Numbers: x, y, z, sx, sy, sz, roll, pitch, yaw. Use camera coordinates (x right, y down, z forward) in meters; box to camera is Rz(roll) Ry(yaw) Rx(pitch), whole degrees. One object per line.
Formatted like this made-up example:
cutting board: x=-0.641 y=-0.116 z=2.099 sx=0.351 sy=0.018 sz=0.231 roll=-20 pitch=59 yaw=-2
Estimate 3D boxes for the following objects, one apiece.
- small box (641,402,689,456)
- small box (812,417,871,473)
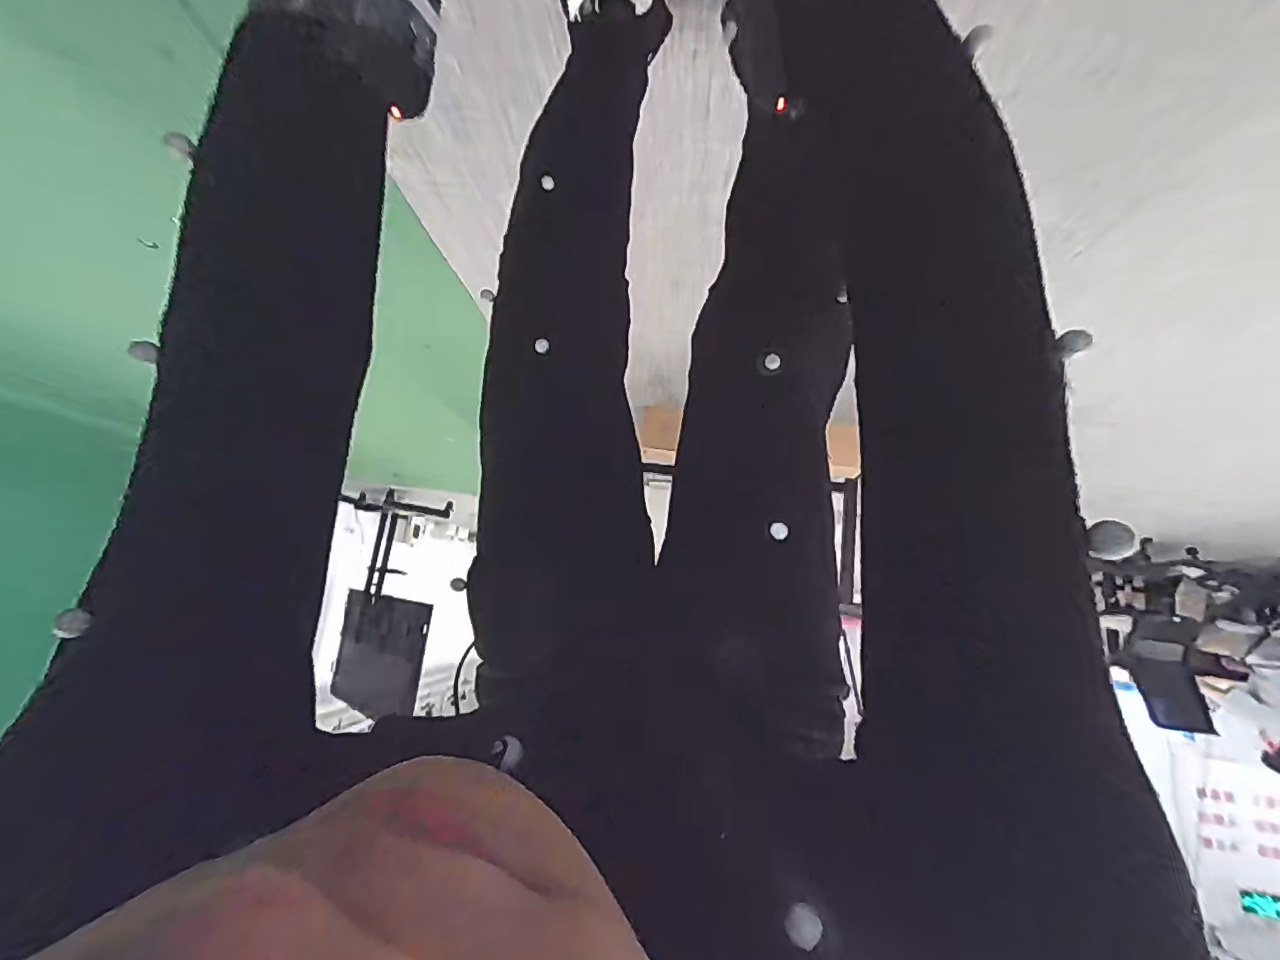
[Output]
small box: x=0.101 y=-0.201 z=2.153 sx=0.179 sy=0.176 sz=0.168 roll=6 pitch=167 yaw=3
small box: x=0.769 y=-0.134 z=2.066 sx=0.179 sy=0.176 sz=0.168 roll=6 pitch=168 yaw=7
